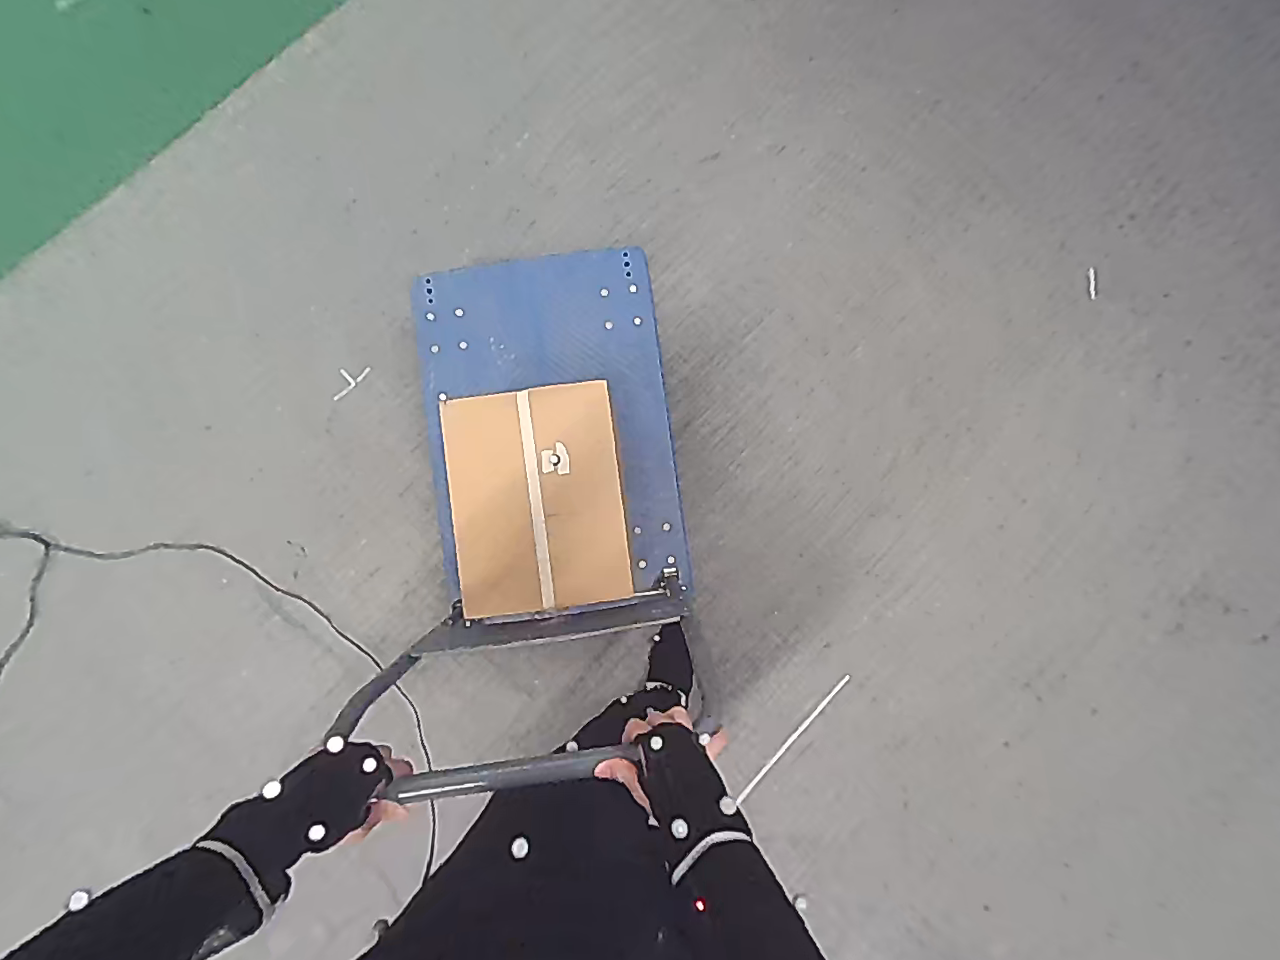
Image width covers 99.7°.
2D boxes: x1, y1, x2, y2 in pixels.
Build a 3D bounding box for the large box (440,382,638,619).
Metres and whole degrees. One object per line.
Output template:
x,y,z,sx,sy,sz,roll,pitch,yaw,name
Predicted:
-0.187,0.043,1.137,0.320,0.320,0.408,-8,87,-1,large box
